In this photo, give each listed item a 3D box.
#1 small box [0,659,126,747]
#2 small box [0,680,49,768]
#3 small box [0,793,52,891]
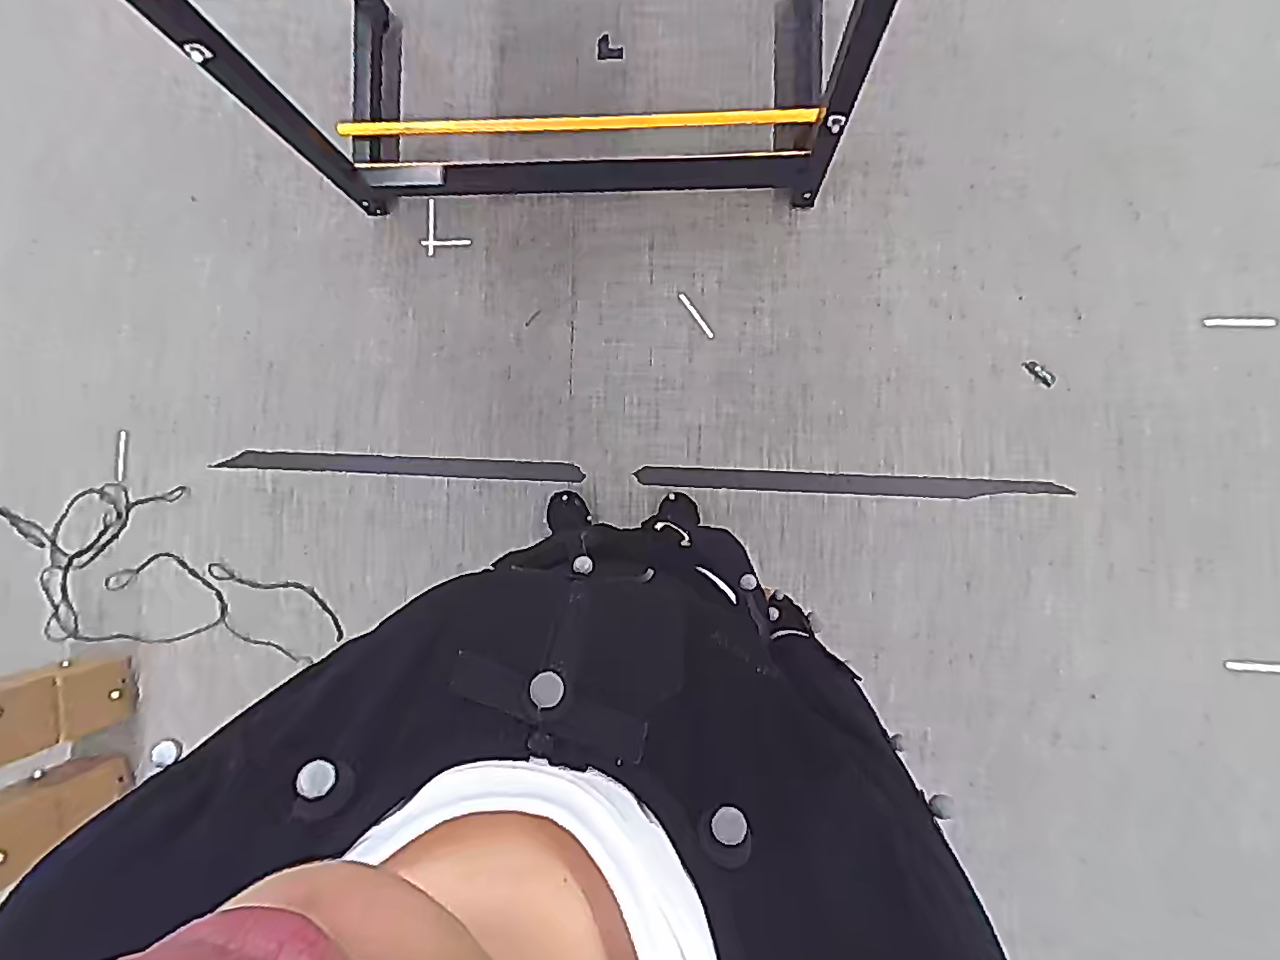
[{"bbox_3d":[-1.489,0.569,1.393,0.179,0.176,0.168,-3,89,4],"label":"small box"},{"bbox_3d":[-1.513,0.565,1.229,0.168,0.176,0.179,-4,89,5],"label":"small box"},{"bbox_3d":[-1.501,0.834,1.224,0.168,0.176,0.179,-6,88,5],"label":"small box"}]
